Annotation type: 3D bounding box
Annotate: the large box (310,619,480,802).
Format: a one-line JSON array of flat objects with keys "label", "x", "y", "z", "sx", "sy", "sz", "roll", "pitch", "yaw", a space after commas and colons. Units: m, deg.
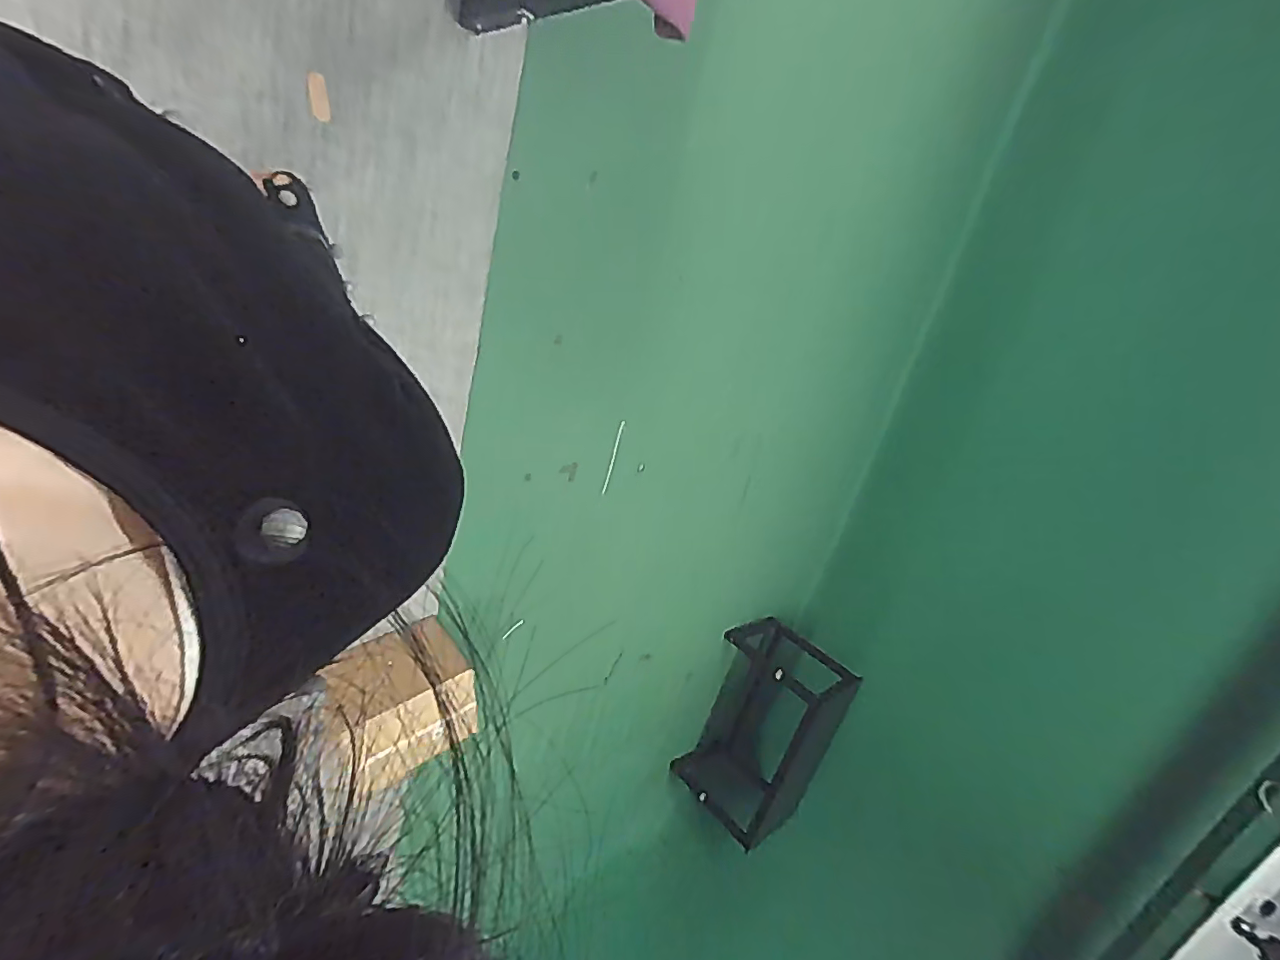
[{"label": "large box", "x": -0.792, "y": 0.730, "z": 1.773, "sx": 0.408, "sy": 0.320, "sz": 0.320, "roll": -20, "pitch": 128, "yaw": -38}]
